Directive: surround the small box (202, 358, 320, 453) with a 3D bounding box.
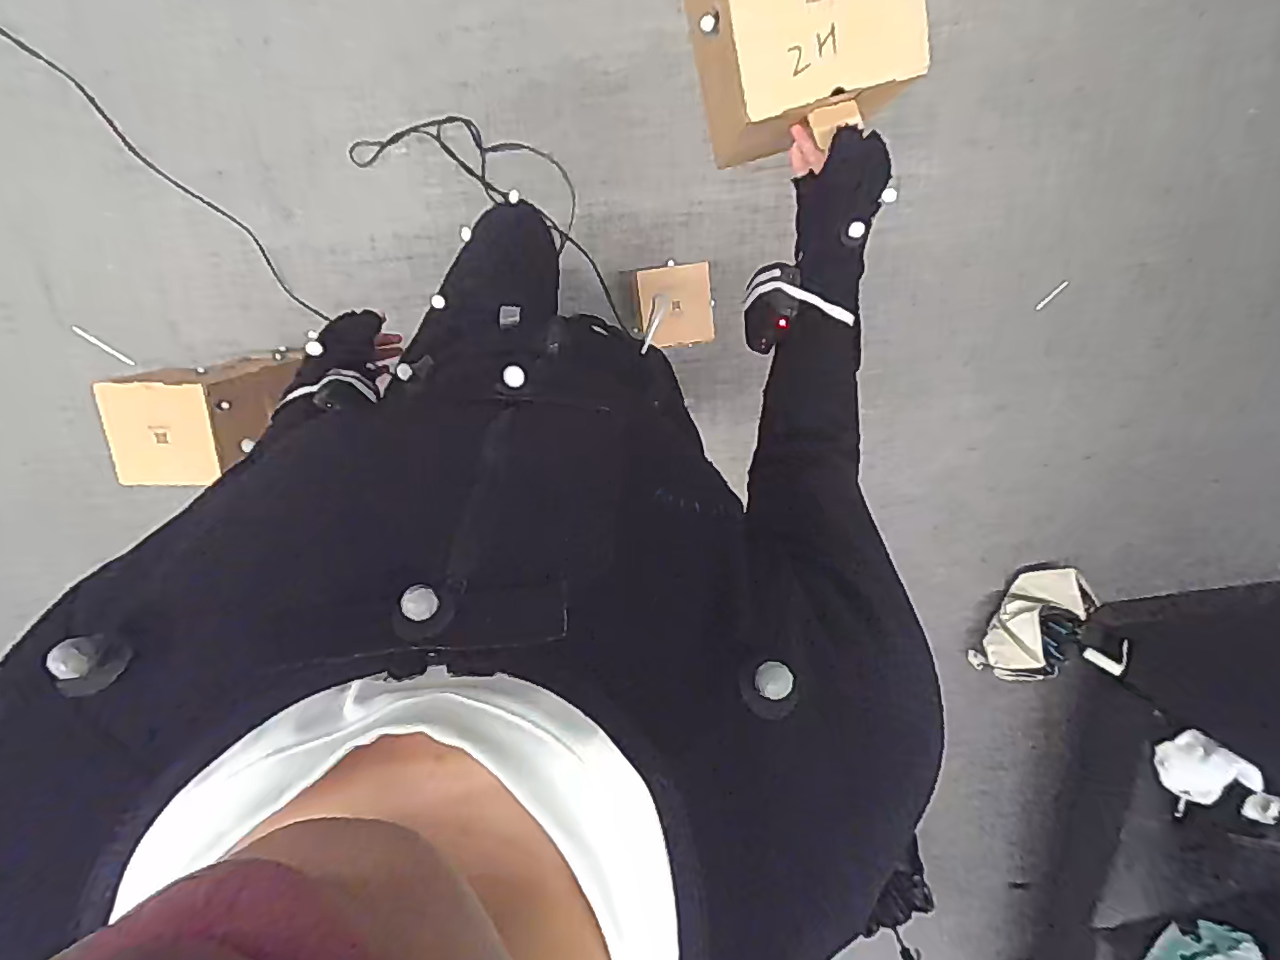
[{"bbox_3d":[-0.806,-0.158,1.130,0.168,0.176,0.179,-4,111,-4],"label":"small box"}]

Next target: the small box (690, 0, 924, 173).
[{"bbox_3d":[0.152,-0.437,0.538,0.168,0.176,0.179,-14,107,2],"label":"small box"}]

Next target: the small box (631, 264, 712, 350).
[{"bbox_3d":[0.074,-0.421,1.309,0.168,0.176,0.179,-9,110,-4],"label":"small box"}]

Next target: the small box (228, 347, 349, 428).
[{"bbox_3d":[-0.821,-0.221,1.281,0.168,0.176,0.179,-5,109,-4],"label":"small box"}]

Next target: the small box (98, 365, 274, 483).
[{"bbox_3d":[-0.799,-0.105,0.976,0.168,0.176,0.179,1,109,-6],"label":"small box"}]
